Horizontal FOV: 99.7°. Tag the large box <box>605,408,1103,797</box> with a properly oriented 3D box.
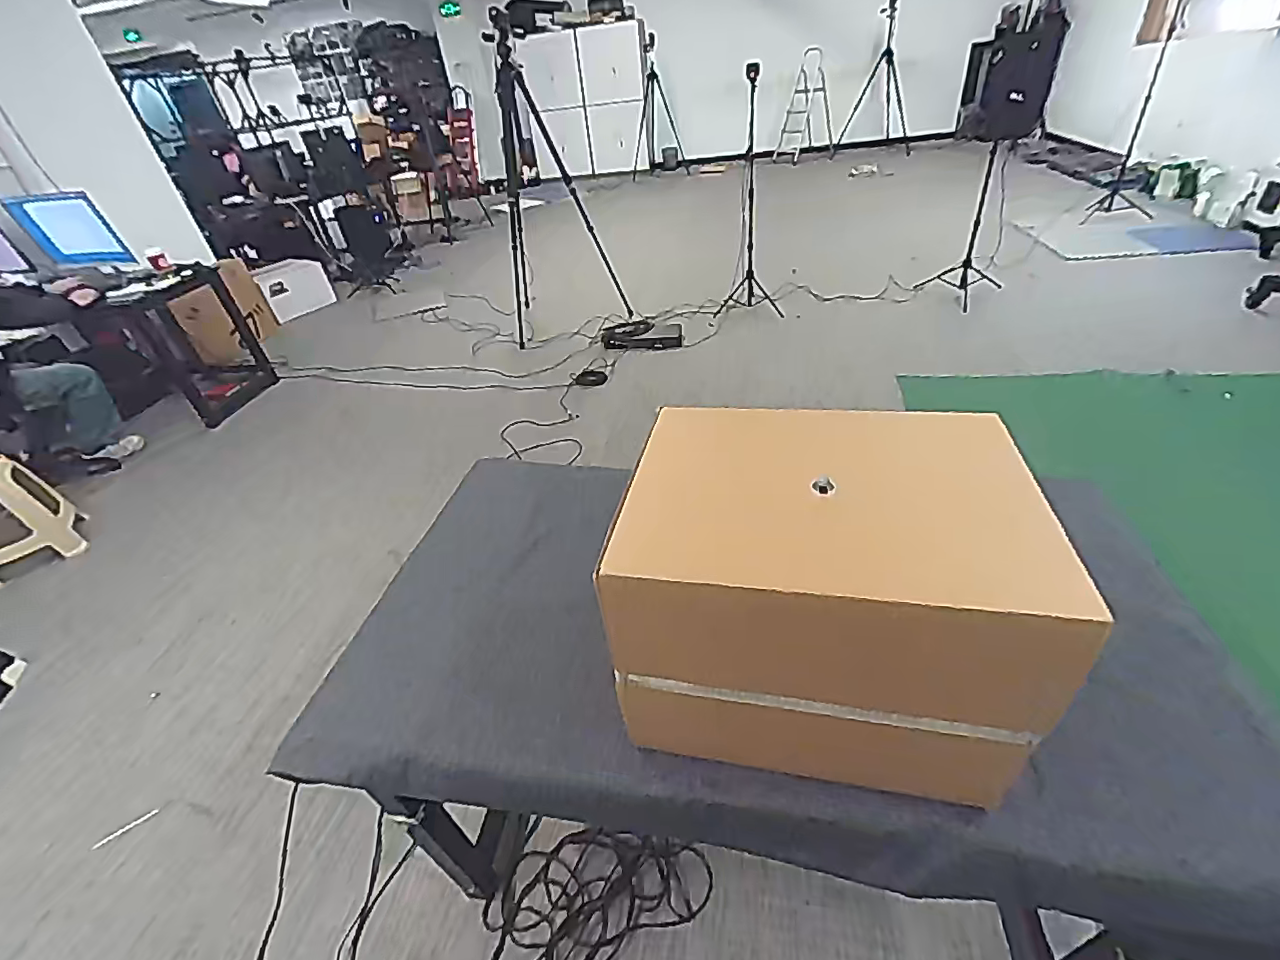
[{"bbox_3d":[0.203,0.128,0.649,0.408,0.320,0.320,3,37,13],"label":"large box"}]
